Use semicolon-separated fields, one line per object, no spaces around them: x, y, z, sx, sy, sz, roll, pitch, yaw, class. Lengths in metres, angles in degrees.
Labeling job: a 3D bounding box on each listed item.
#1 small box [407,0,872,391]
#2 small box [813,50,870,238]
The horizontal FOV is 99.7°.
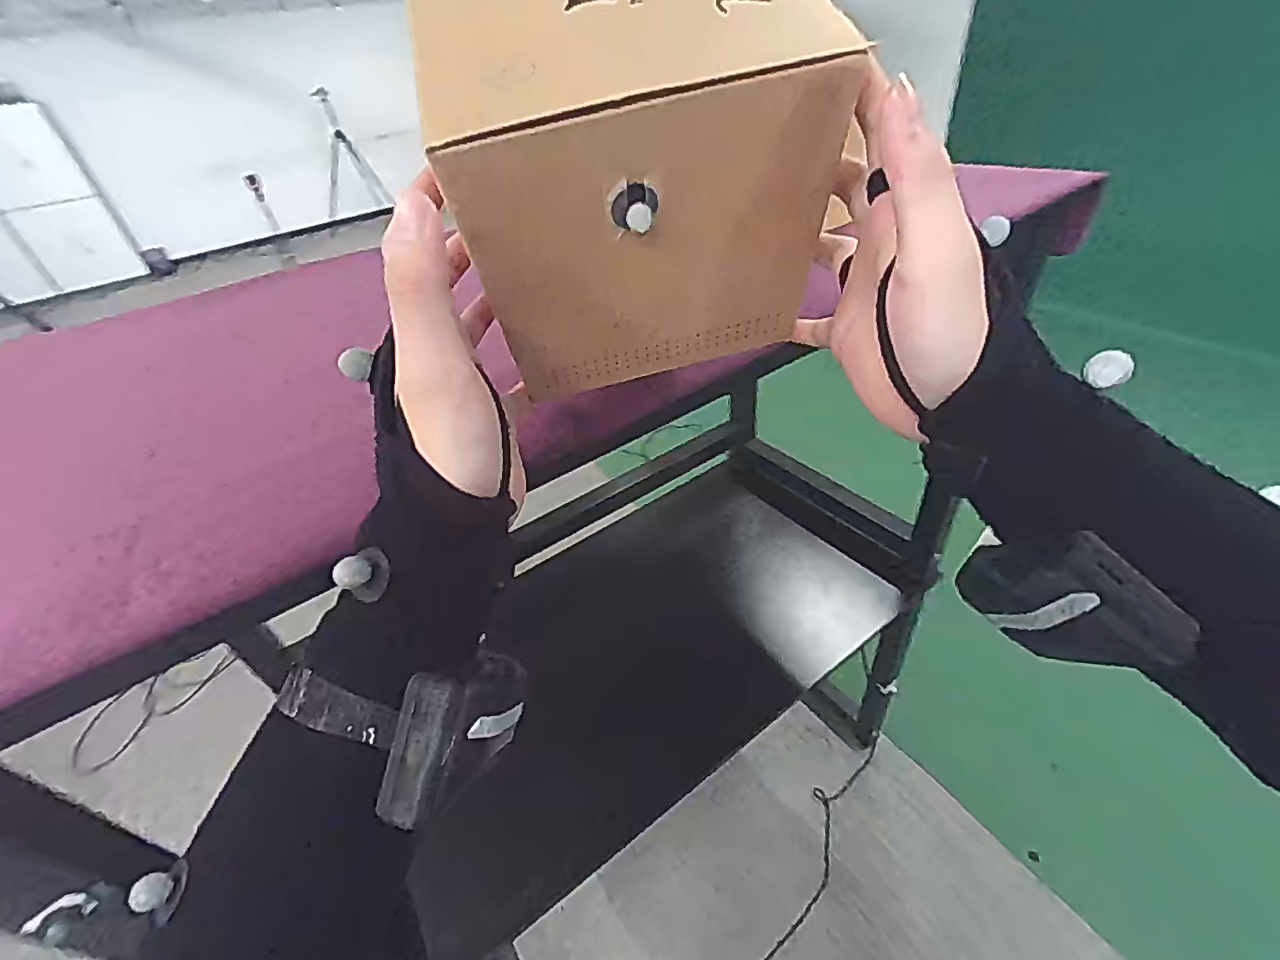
-0.007;-0.172;0.304;0.179;0.176;0.168;-14;64;-2;small box
0.127;-0.364;0.612;0.168;0.176;0.179;-26;40;-20;small box
